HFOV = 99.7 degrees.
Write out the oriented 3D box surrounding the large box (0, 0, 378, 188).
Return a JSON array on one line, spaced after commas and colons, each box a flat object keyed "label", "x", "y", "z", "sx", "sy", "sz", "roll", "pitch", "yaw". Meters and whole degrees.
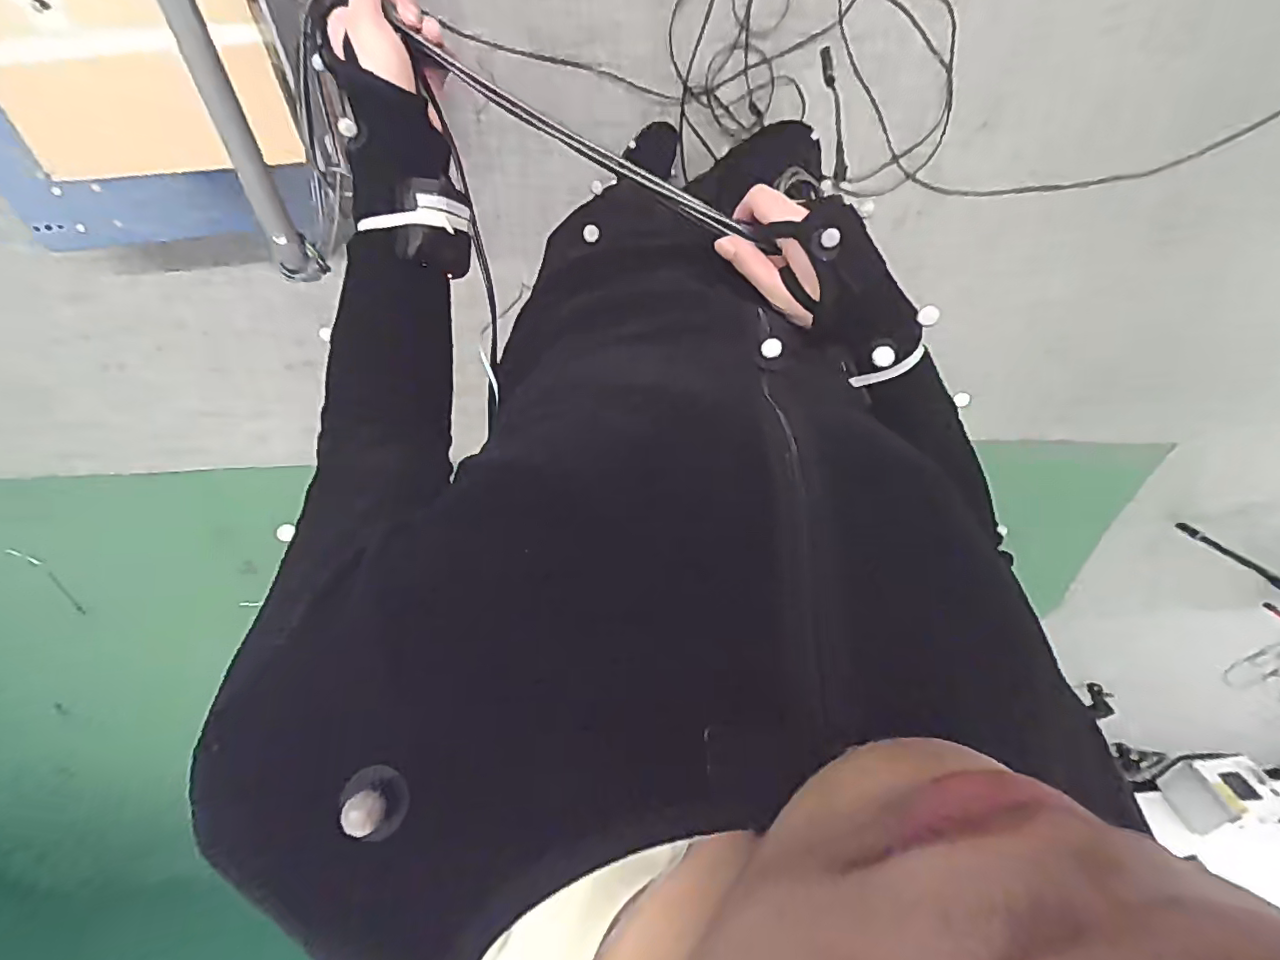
[{"label": "large box", "x": -0.716, "y": -0.685, "z": 0.866, "sx": 0.408, "sy": 0.320, "sz": 0.320, "roll": -5, "pitch": 127, "yaw": 0}]
